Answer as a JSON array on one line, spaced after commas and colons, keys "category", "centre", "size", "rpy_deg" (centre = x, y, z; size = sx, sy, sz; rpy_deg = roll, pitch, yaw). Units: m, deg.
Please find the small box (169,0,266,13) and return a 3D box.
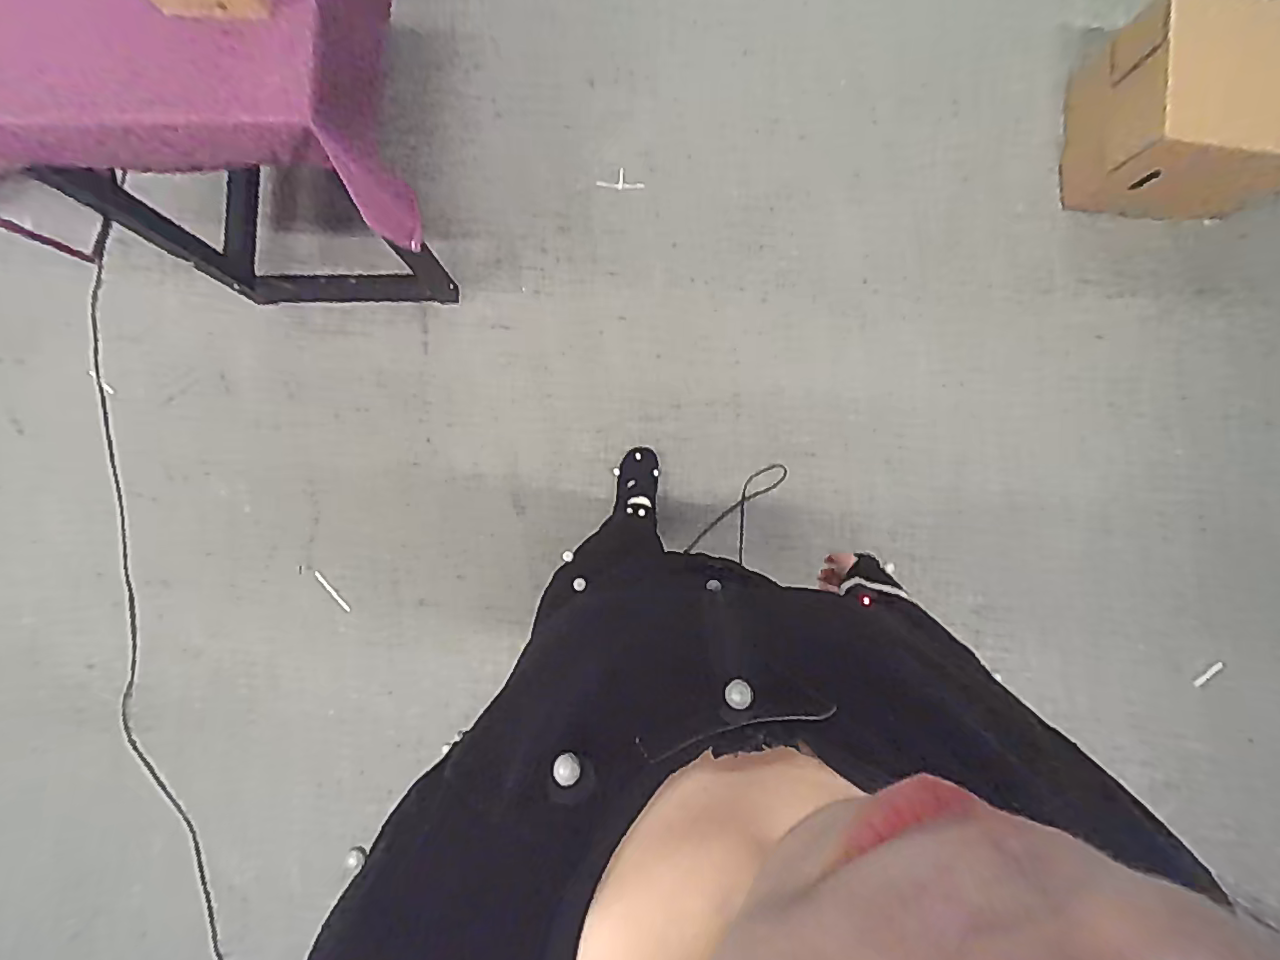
[{"category": "small box", "centre": [-0.636, -0.796, 0.742], "size": [0.168, 0.176, 0.179], "rpy_deg": [3, 86, 0]}]
